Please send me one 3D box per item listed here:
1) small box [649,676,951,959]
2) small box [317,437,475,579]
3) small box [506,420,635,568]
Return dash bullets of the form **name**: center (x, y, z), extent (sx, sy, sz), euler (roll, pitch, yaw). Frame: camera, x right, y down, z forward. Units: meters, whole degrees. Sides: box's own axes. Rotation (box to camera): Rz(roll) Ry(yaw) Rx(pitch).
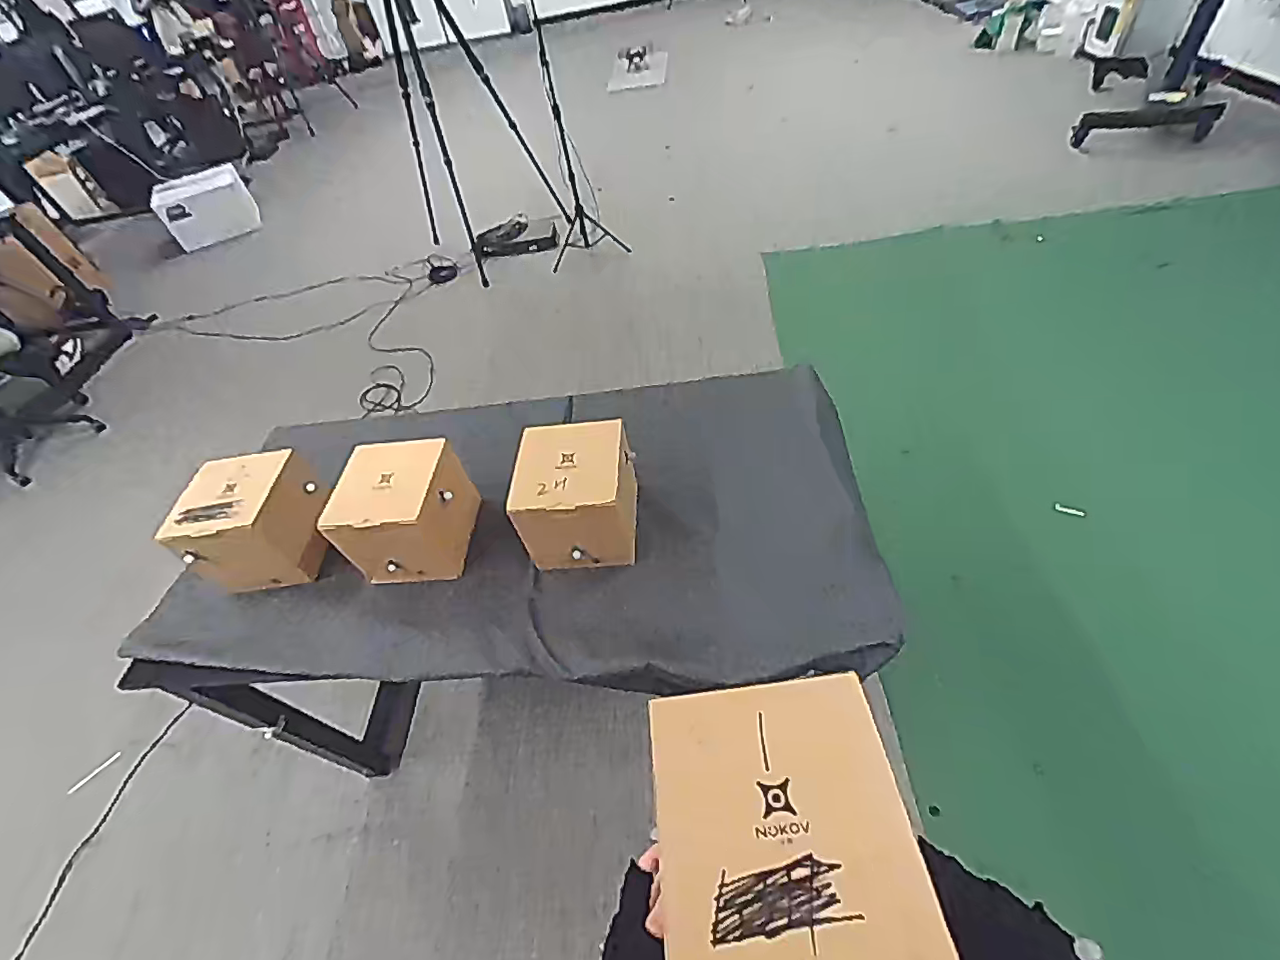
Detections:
- **small box**: center (0.105, 0.279, 0.422), extent (0.168, 0.176, 0.179), euler (-9, 46, 4)
- **small box**: center (-0.397, 0.050, 0.920), extent (0.168, 0.176, 0.179), euler (-4, 50, 6)
- **small box**: center (-0.101, 0.025, 0.887), extent (0.168, 0.176, 0.179), euler (-4, 49, 7)
